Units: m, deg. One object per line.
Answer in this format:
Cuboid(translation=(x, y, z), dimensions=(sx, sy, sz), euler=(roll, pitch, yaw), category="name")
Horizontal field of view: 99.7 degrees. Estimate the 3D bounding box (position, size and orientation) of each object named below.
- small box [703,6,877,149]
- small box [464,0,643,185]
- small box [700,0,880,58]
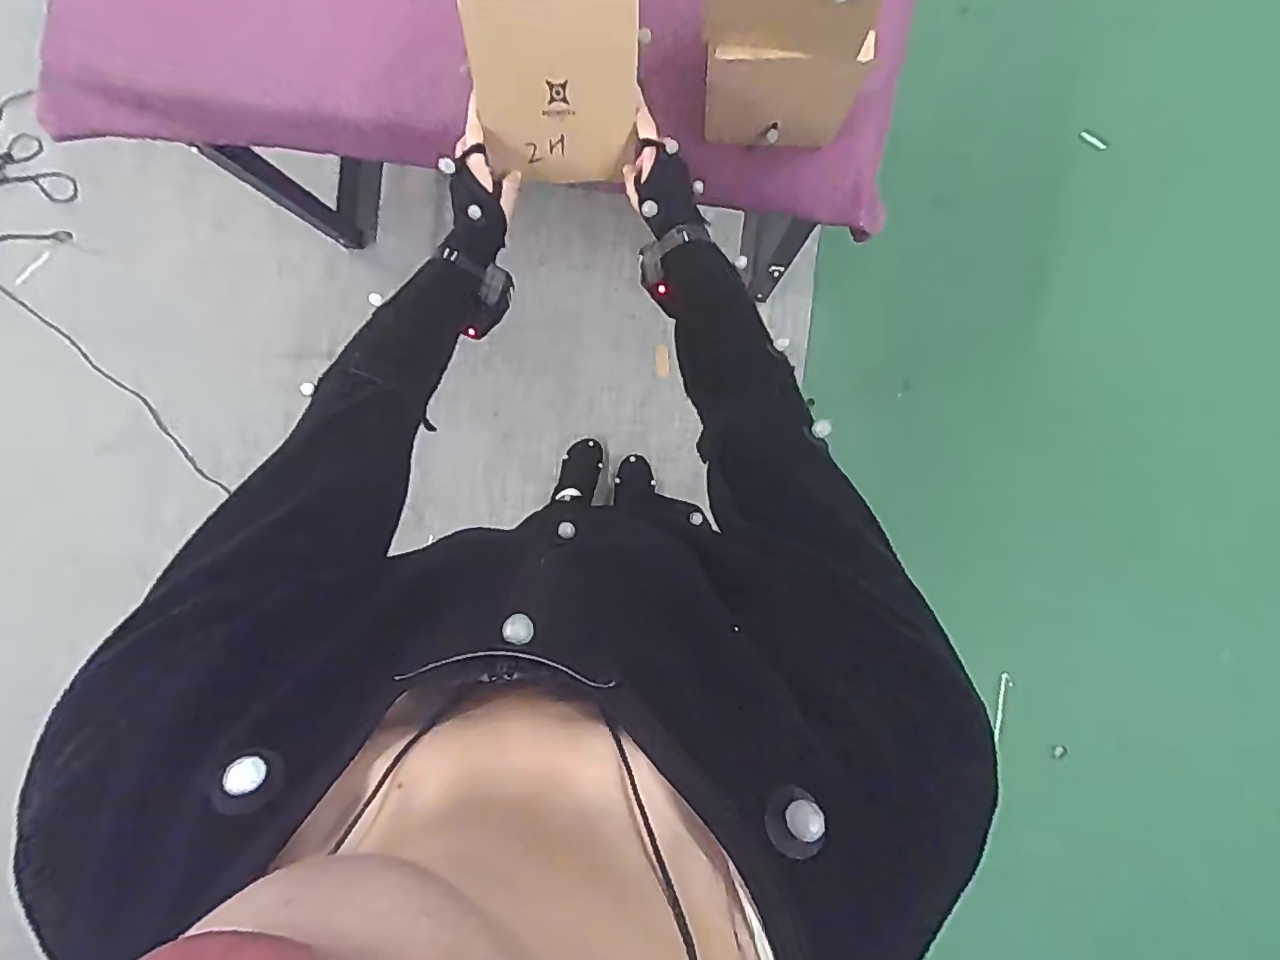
Cuboid(translation=(0.176, -0.540, 0.670), dimensions=(0.179, 0.176, 0.168), euler=(3, 92, 2), category="small box")
Cuboid(translation=(-0.094, -0.458, 0.596), dimensions=(0.168, 0.179, 0.176), euler=(-5, 60, -6), category="small box")
Cuboid(translation=(0.158, -0.543, 0.507), dimensions=(0.179, 0.176, 0.168), euler=(9, 93, 3), category="small box")
